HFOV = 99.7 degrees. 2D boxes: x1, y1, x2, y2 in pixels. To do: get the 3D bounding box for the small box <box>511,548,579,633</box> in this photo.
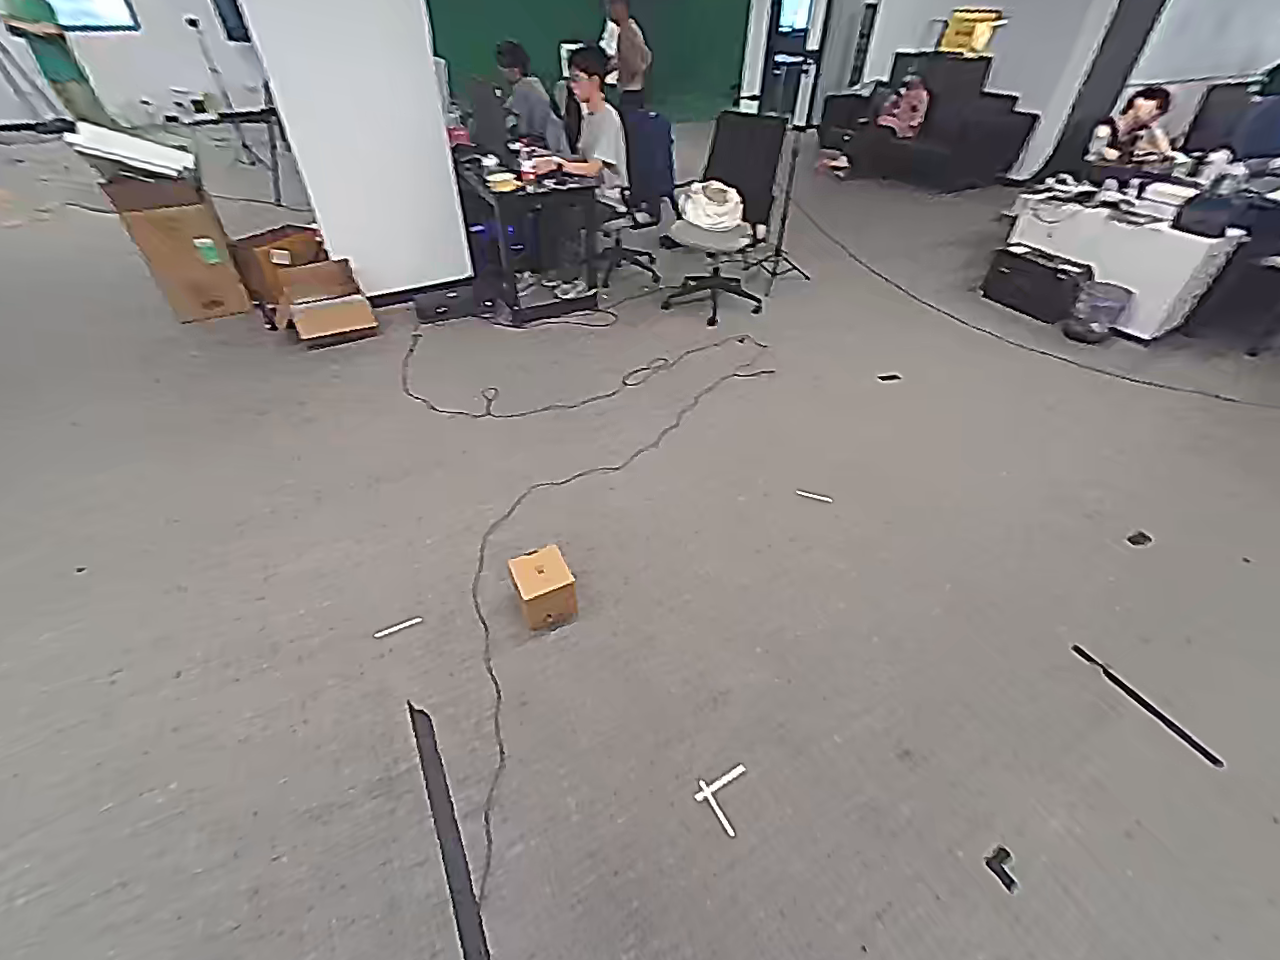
[{"bbox_3d":[-0.304,0.358,1.743,0.168,0.176,0.179,-19,45,-20],"label":"small box"}]
